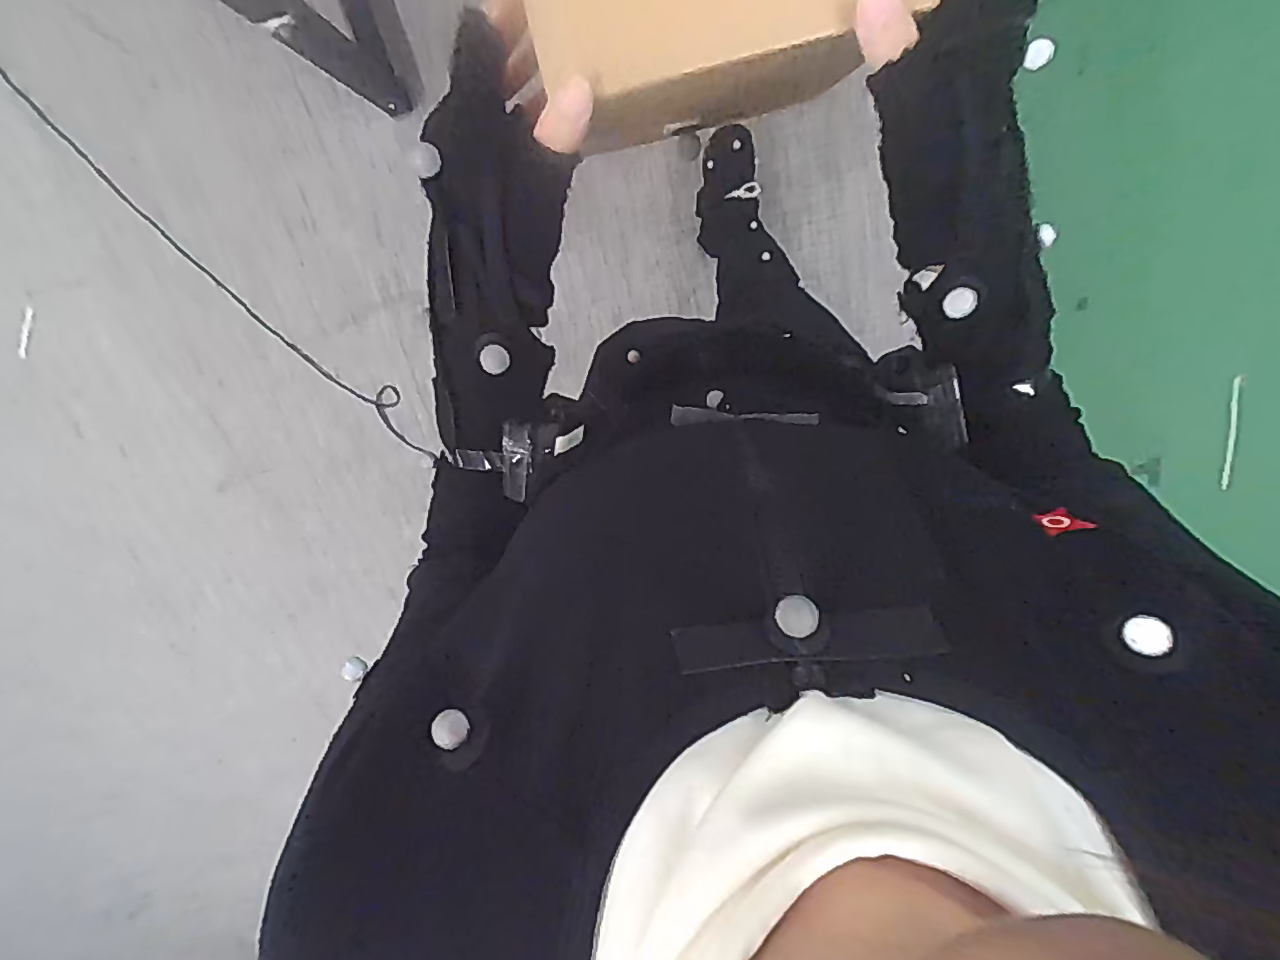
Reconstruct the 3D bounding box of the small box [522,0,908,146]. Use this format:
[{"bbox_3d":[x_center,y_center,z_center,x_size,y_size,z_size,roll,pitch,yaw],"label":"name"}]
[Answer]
[{"bbox_3d":[0.019,-0.294,0.267,0.168,0.176,0.179,-11,114,5],"label":"small box"}]
